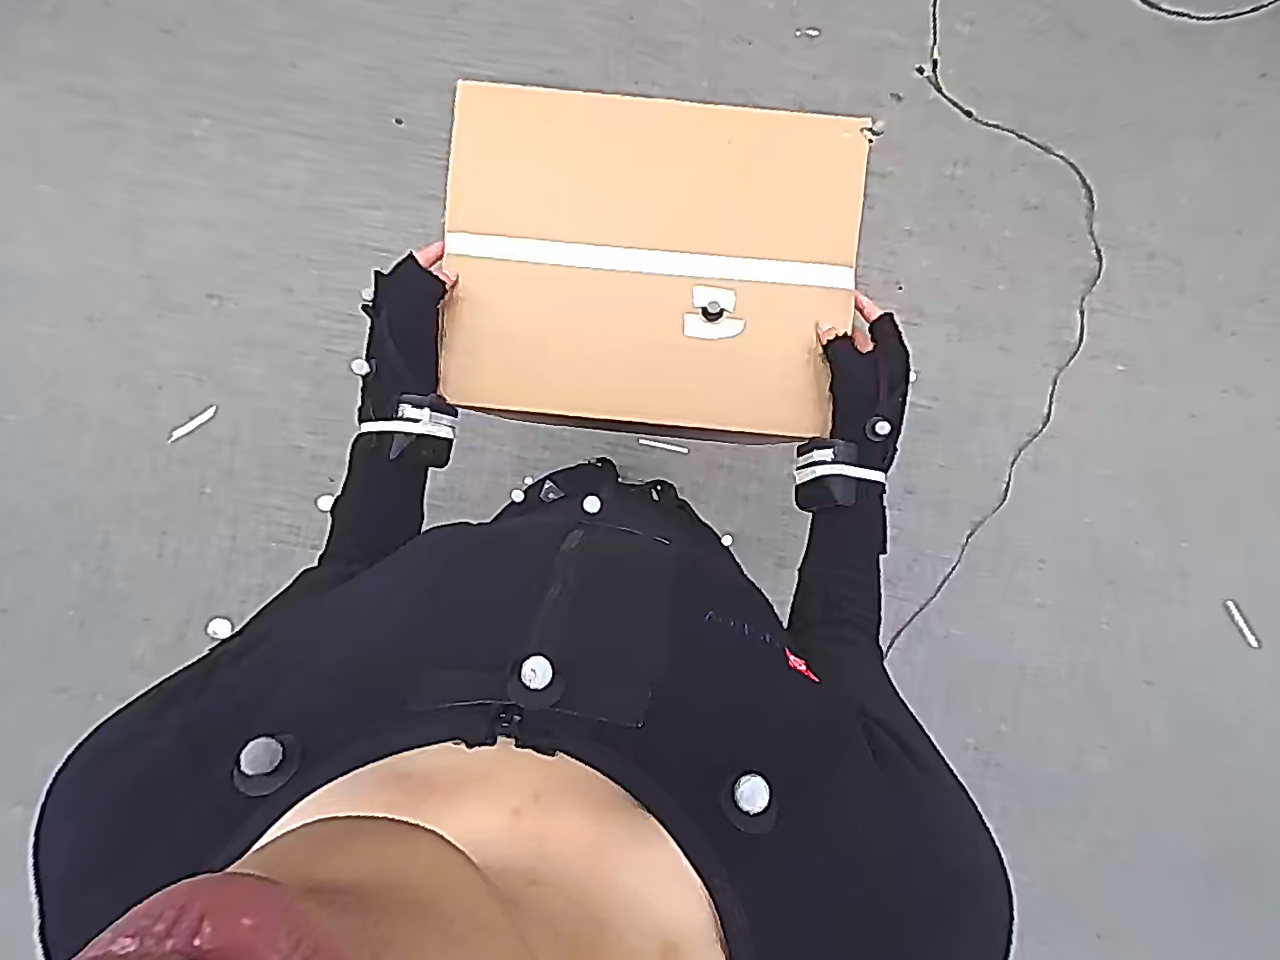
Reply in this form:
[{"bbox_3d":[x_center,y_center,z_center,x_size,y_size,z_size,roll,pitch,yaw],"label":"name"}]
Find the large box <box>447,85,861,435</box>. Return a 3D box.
[{"bbox_3d":[0.010,-0.232,0.693,0.408,0.320,0.320,6,93,0],"label":"large box"}]
